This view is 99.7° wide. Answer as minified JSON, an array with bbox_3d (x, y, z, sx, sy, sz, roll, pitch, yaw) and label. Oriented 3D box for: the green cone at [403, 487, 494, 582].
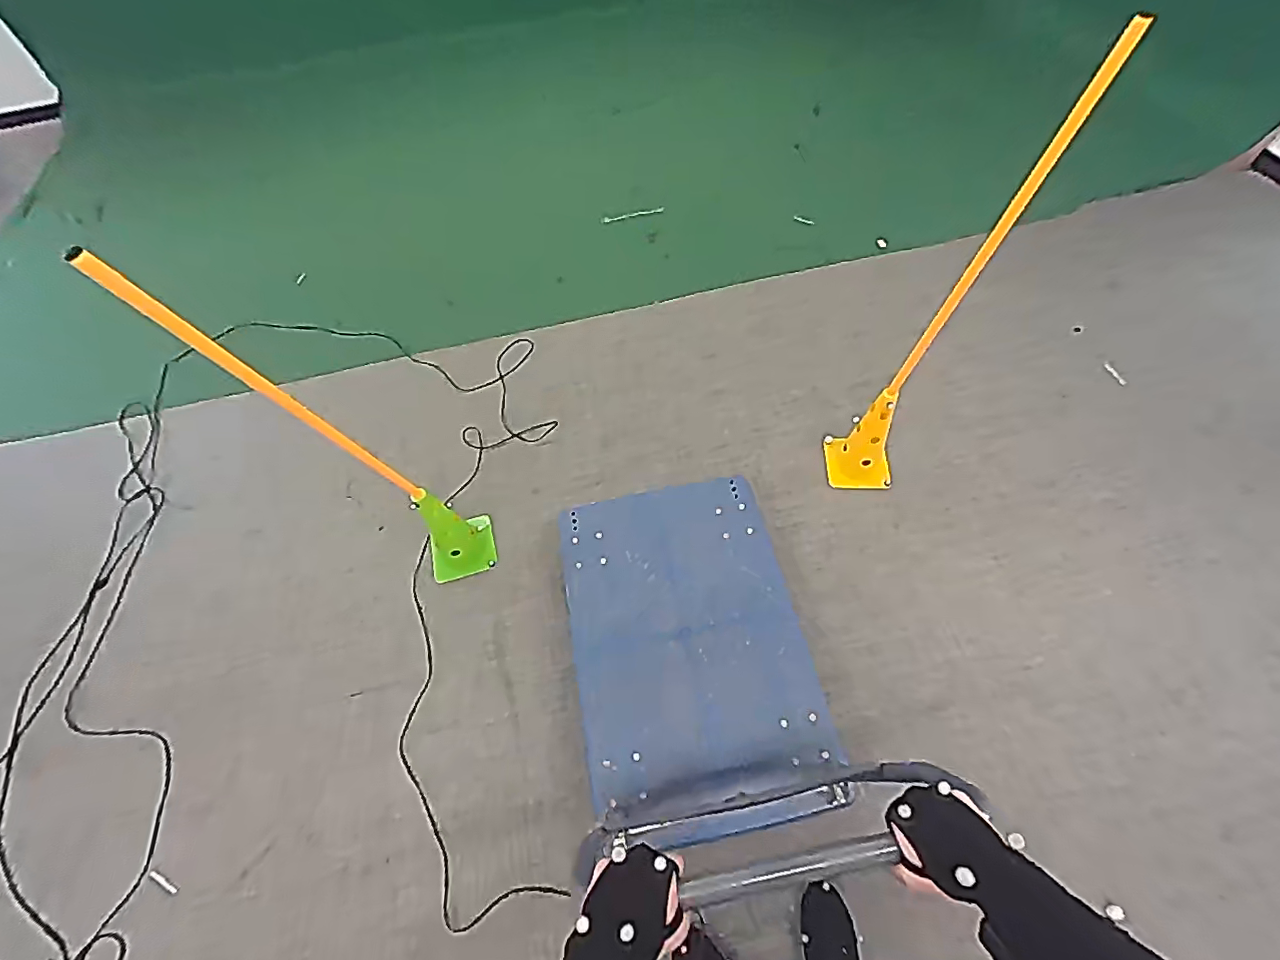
[{"bbox_3d":[-0.591,0.123,1.587,0.202,0.368,0.200,-17,58,-5],"label":"green cone"}]
